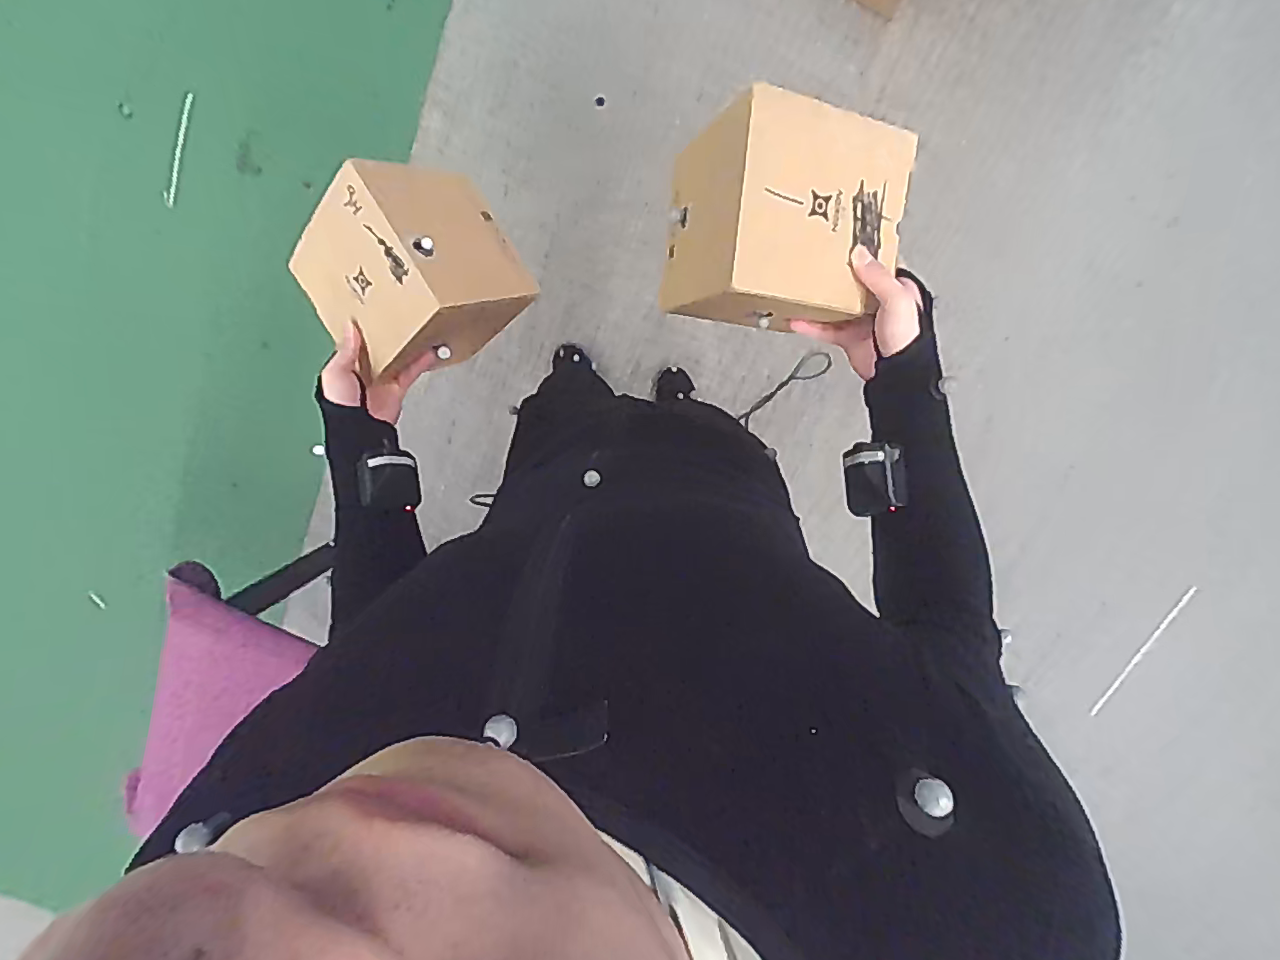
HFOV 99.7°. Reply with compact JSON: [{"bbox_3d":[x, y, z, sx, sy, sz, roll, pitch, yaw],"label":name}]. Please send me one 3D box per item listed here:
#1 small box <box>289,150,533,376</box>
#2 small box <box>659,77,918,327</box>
[{"bbox_3d":[-0.262,-0.246,0.639,0.179,0.176,0.168,-26,97,36],"label":"small box"},{"bbox_3d":[0.136,-0.254,0.548,0.179,0.176,0.168,4,98,-19],"label":"small box"}]
